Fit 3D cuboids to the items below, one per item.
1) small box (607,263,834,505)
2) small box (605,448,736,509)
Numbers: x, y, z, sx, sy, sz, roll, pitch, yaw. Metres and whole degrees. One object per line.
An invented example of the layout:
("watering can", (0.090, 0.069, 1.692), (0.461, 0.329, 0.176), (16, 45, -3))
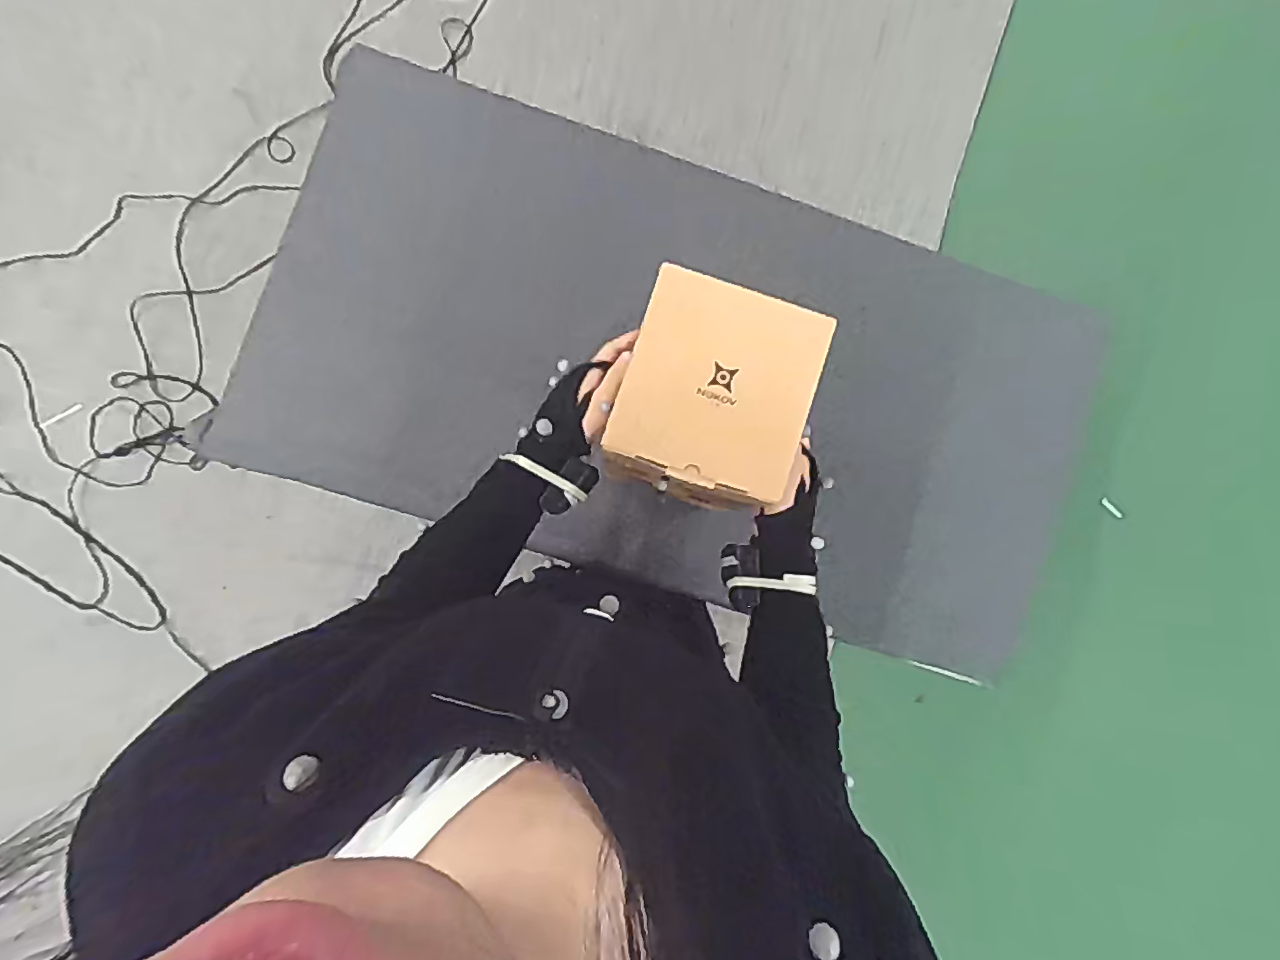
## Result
("small box", (0.066, -0.082, 0.552), (0.168, 0.176, 0.179), (18, 87, -3))
("small box", (0.056, -0.069, 0.714), (0.168, 0.176, 0.179), (18, 87, -2))
